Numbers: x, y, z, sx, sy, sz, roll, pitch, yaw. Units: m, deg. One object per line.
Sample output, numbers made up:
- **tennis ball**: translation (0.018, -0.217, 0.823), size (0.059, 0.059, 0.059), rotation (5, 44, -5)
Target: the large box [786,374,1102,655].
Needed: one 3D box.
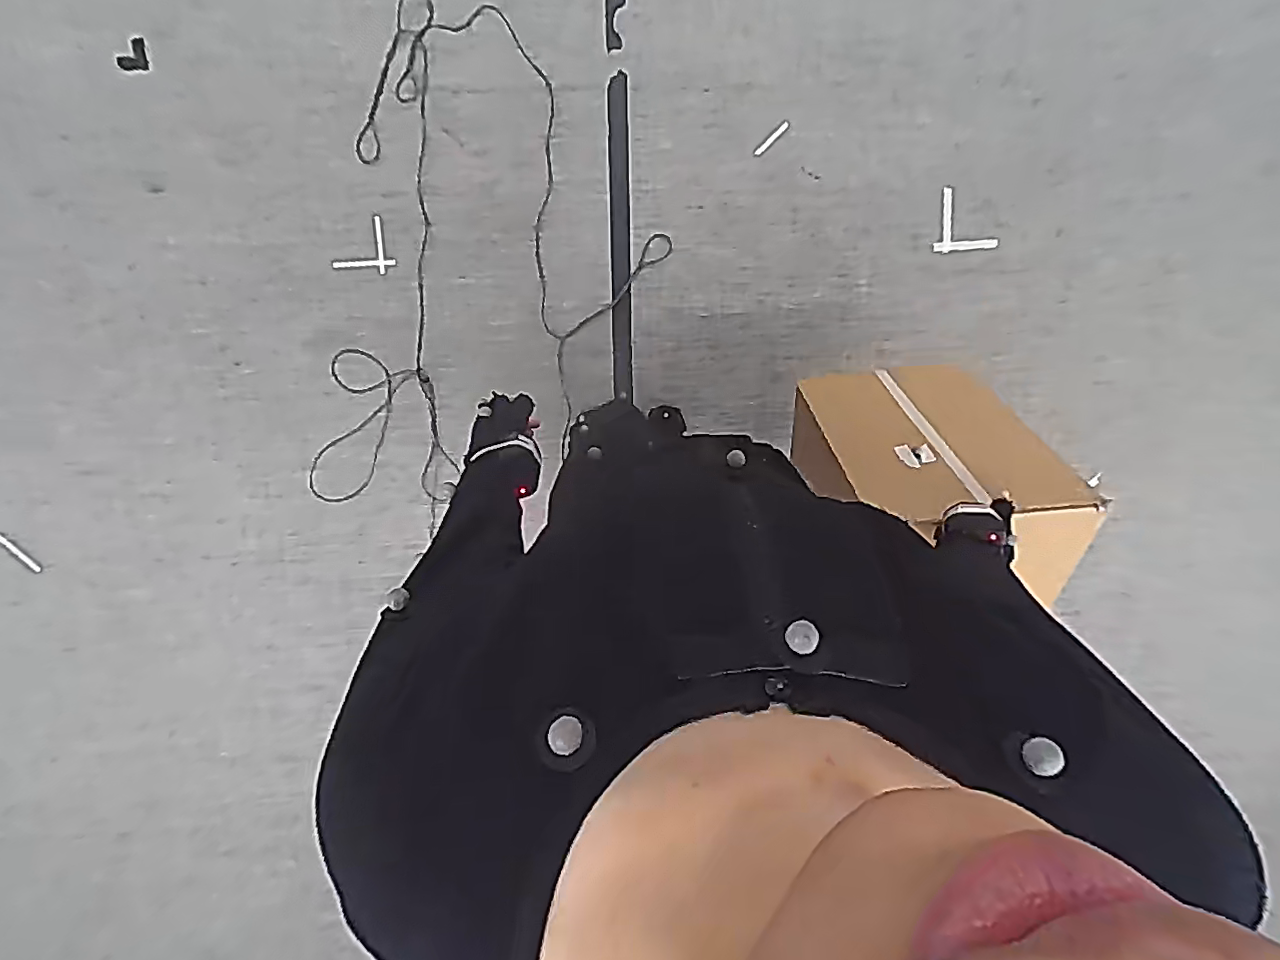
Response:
- **large box**: translation (0.480, 0.050, 0.983), size (0.320, 0.408, 0.320), rotation (-6, 130, 2)
